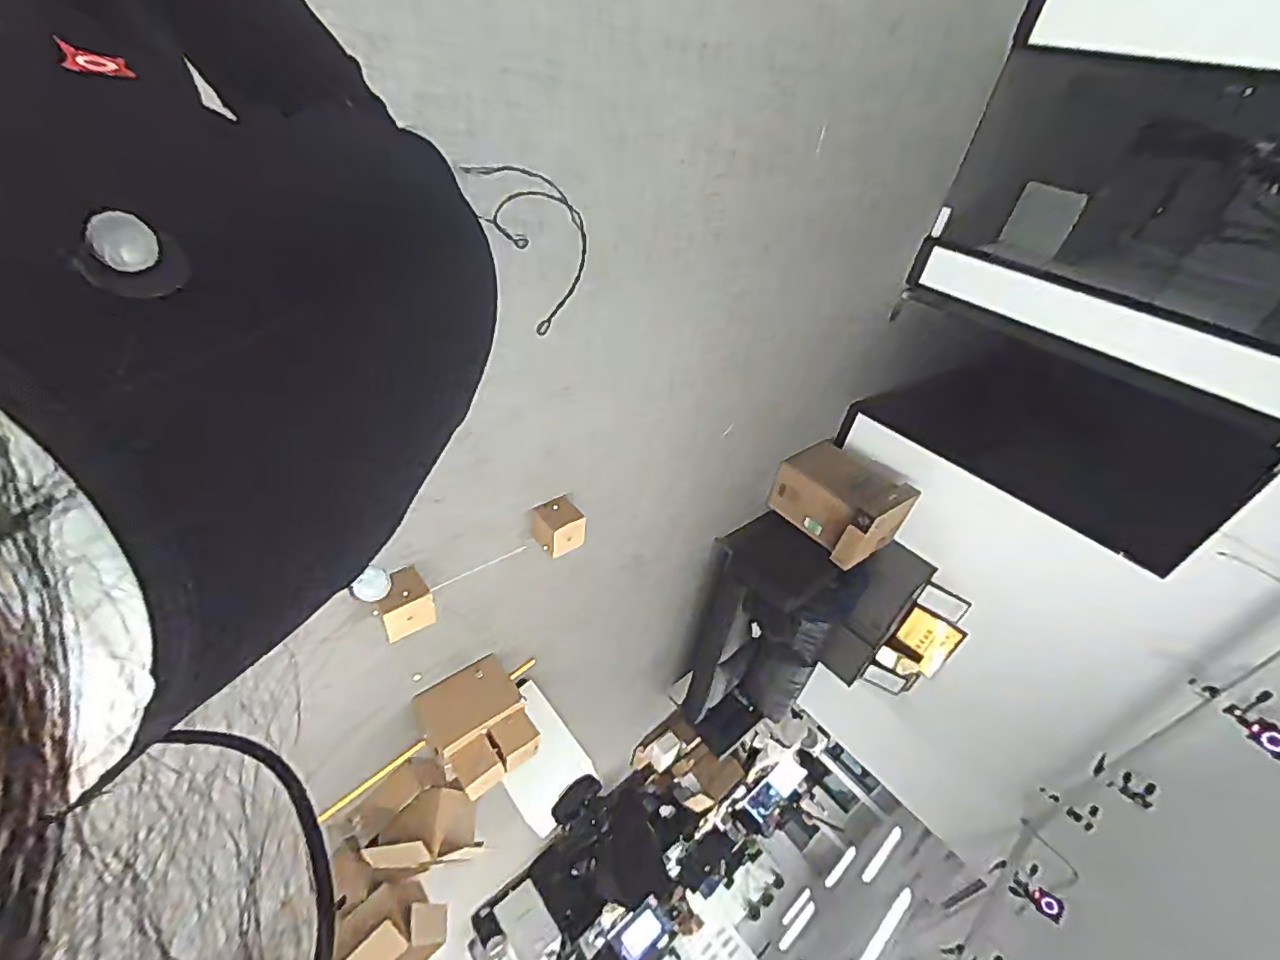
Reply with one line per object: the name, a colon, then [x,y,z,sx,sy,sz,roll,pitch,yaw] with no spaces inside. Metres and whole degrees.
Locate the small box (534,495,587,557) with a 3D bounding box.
small box: [-0.352,0.197,2.371,0.168,0.176,0.179,-25,140,-34]

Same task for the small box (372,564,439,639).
small box: [-0.870,0.444,1.996,0.179,0.176,0.168,-25,140,-35]
